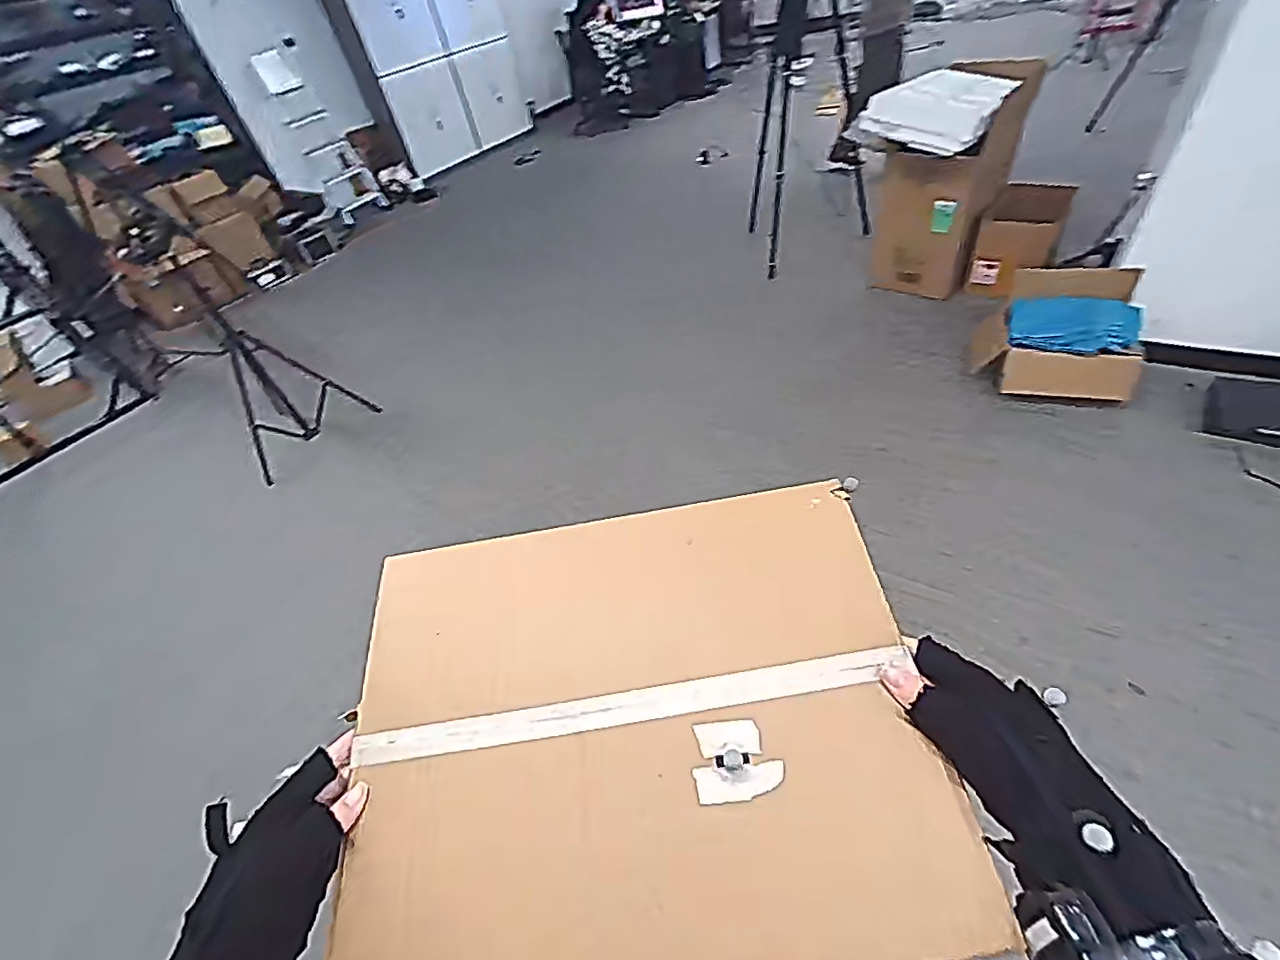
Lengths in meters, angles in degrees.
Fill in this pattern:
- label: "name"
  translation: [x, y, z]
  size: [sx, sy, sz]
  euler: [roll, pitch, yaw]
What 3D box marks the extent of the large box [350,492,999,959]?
- label: "large box"
  translation: [0.011, 0.254, 0.522]
  size: [0.408, 0.320, 0.320]
  euler: [-11, 56, 1]
